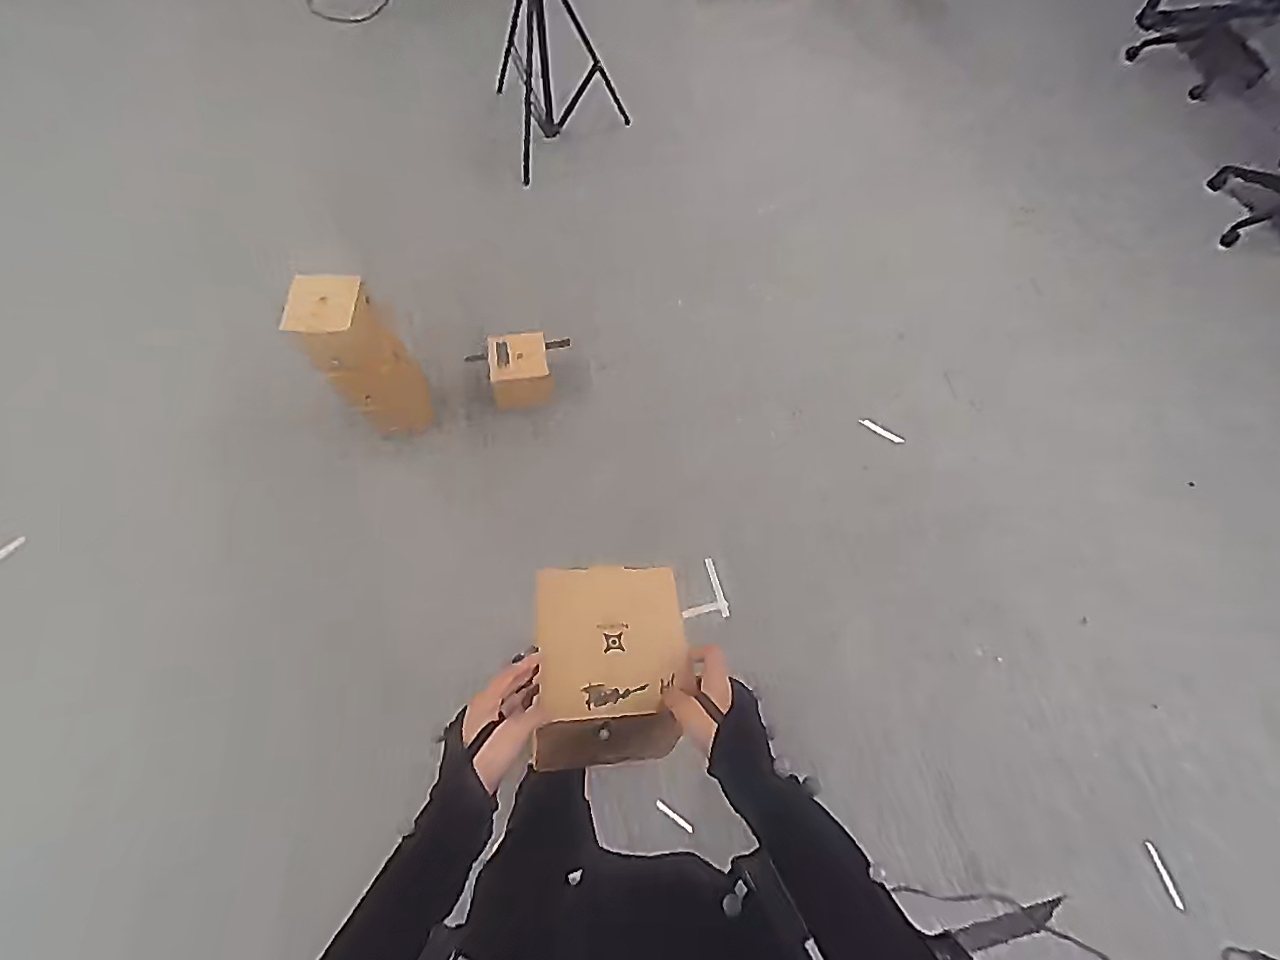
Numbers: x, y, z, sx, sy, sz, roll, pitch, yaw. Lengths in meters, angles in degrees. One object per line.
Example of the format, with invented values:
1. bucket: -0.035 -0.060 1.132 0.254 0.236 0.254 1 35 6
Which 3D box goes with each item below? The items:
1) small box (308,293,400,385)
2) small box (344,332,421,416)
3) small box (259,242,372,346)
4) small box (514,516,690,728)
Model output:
1. small box: -0.768 -0.381 1.469 0.168 0.176 0.179 -6 68 -5
2. small box: -0.765 -0.315 1.616 0.168 0.176 0.179 -9 67 -6
3. small box: -0.778 -0.452 1.320 0.168 0.176 0.179 -1 67 -3
4. small box: -0.056 0.161 0.615 0.168 0.176 0.179 2 48 -13
